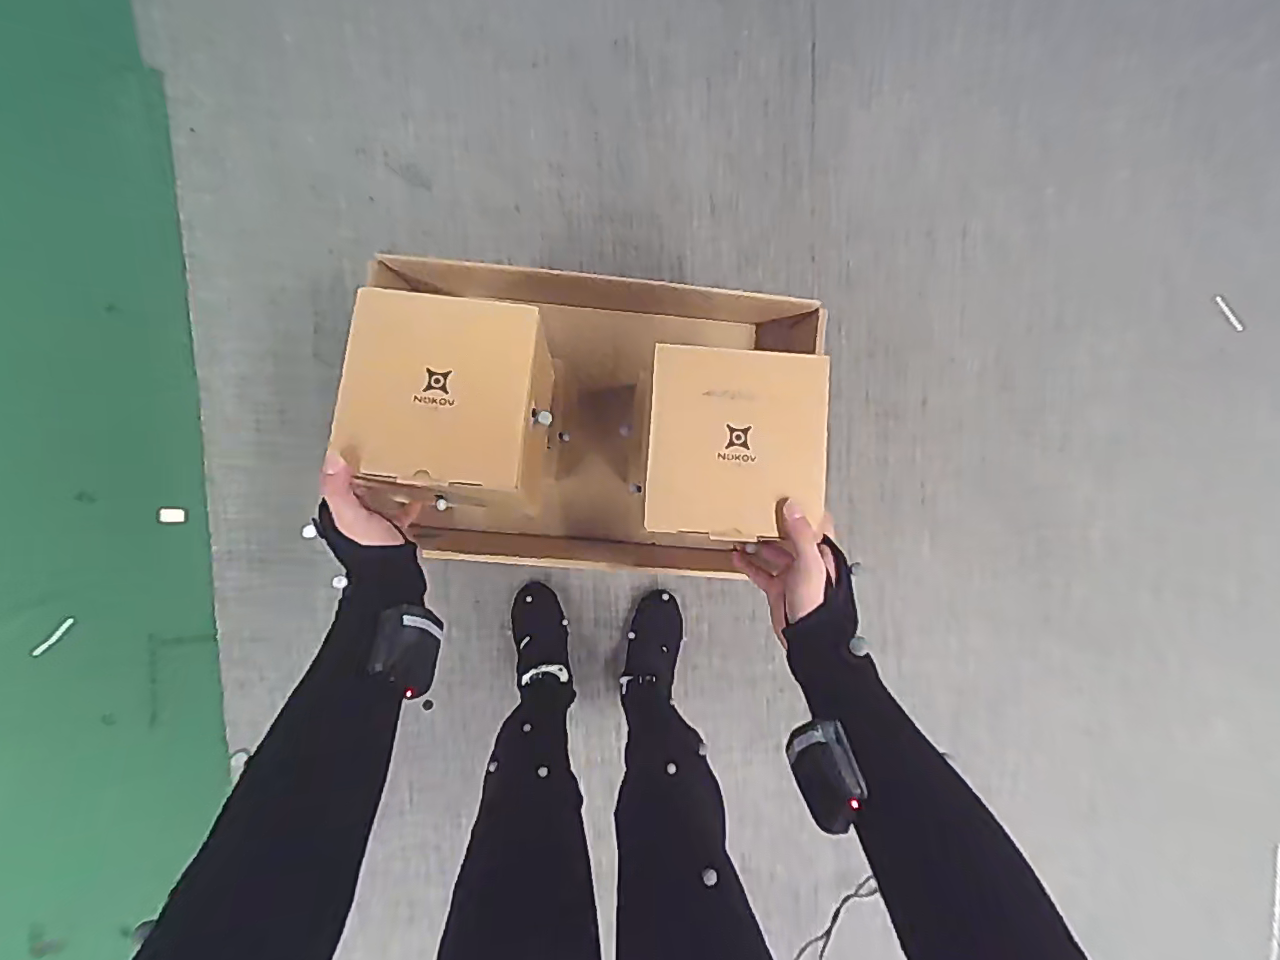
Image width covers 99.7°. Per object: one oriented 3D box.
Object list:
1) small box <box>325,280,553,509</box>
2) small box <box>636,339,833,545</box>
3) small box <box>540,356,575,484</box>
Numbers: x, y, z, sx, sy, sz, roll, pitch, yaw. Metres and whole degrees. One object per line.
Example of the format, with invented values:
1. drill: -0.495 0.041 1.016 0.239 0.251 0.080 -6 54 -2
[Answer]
1. small box: -0.184 -0.073 0.553 0.168 0.176 0.179 6 81 -4
2. small box: 0.085 -0.028 0.564 0.168 0.176 0.179 5 84 -2
3. small box: -0.192 -0.088 0.766 0.179 0.176 0.168 5 93 -3
